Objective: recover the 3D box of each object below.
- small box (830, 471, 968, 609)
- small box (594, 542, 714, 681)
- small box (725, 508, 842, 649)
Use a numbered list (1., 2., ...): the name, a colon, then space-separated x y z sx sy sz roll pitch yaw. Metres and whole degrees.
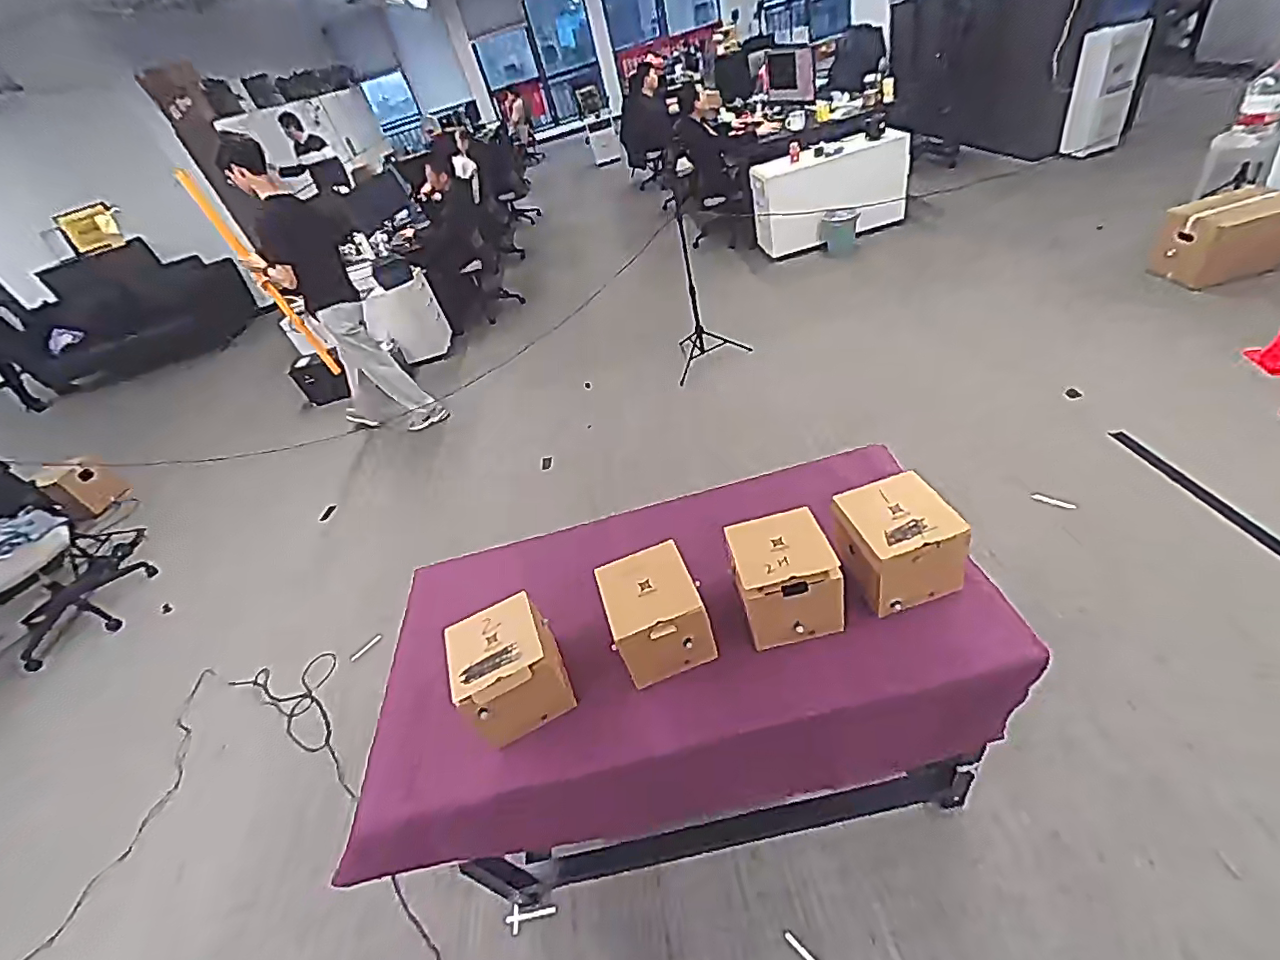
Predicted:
1. small box: 0.475 0.118 1.014 0.168 0.176 0.179 -19 38 0
2. small box: 0.029 0.256 1.027 0.168 0.176 0.179 -20 39 -4
3. small box: 0.266 0.185 1.016 0.168 0.176 0.179 -15 40 4
